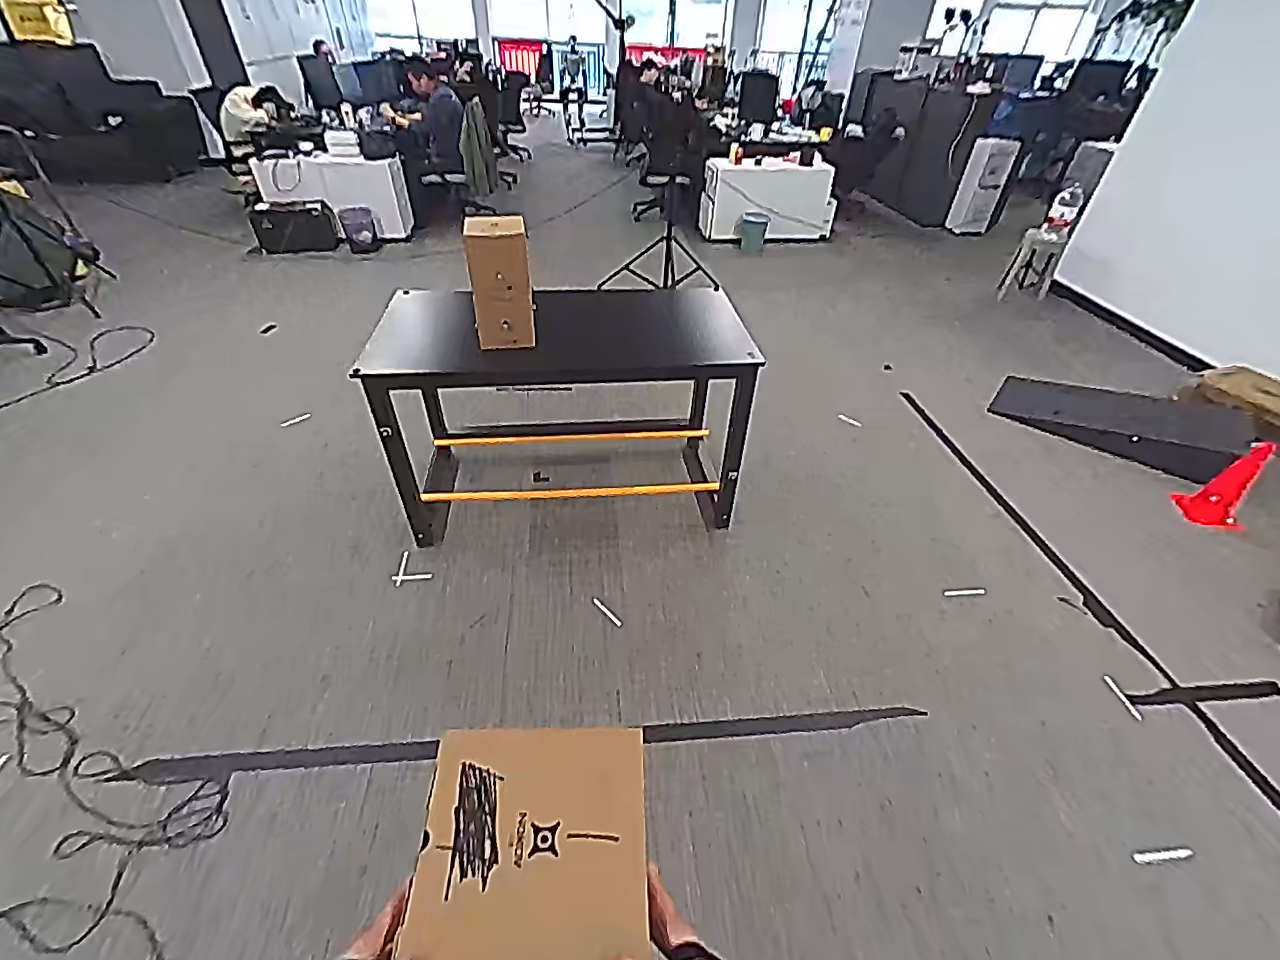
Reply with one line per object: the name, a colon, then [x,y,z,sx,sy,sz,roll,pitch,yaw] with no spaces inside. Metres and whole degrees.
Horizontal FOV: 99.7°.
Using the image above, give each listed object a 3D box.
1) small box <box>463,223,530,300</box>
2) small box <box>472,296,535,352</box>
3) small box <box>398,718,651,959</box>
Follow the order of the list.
small box: [-0.416,-0.639,1.582,0.168,0.176,0.179,-7,41,-10]
small box: [-0.420,-0.509,1.685,0.168,0.176,0.179,-6,41,-9]
small box: [-0.084,0.329,0.480,0.179,0.176,0.168,1,44,-4]
